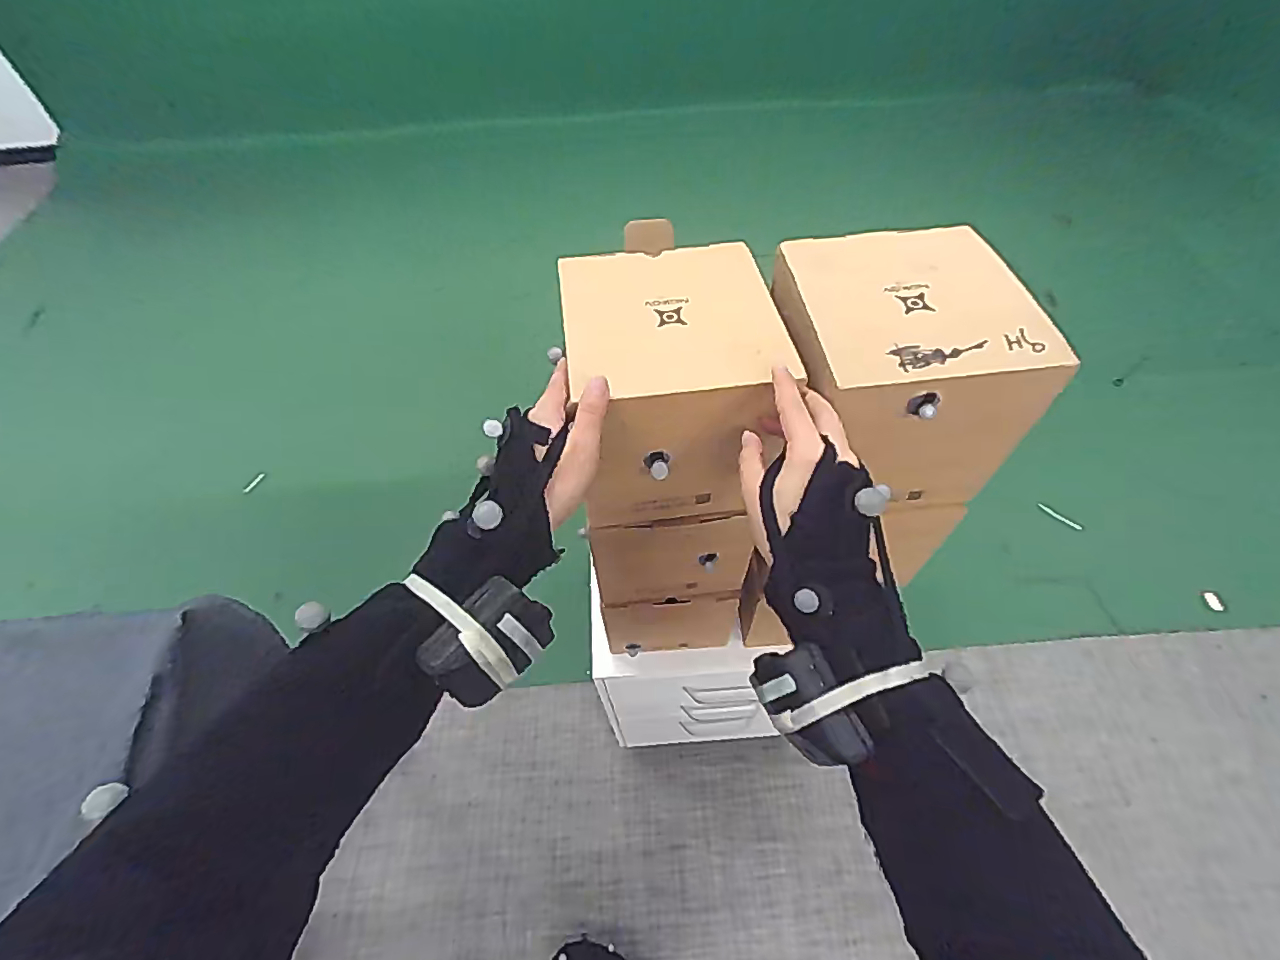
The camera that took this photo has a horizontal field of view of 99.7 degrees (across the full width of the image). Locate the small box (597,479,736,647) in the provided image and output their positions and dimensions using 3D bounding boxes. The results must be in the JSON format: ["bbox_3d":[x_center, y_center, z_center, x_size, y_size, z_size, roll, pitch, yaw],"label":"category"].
[{"bbox_3d":[0.030,0.119,0.738,0.168,0.176,0.179,-3,54,-1],"label":"small box"}]

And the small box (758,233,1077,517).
[{"bbox_3d":[0.209,-0.088,0.475,0.168,0.176,0.179,-5,54,-1],"label":"small box"}]
